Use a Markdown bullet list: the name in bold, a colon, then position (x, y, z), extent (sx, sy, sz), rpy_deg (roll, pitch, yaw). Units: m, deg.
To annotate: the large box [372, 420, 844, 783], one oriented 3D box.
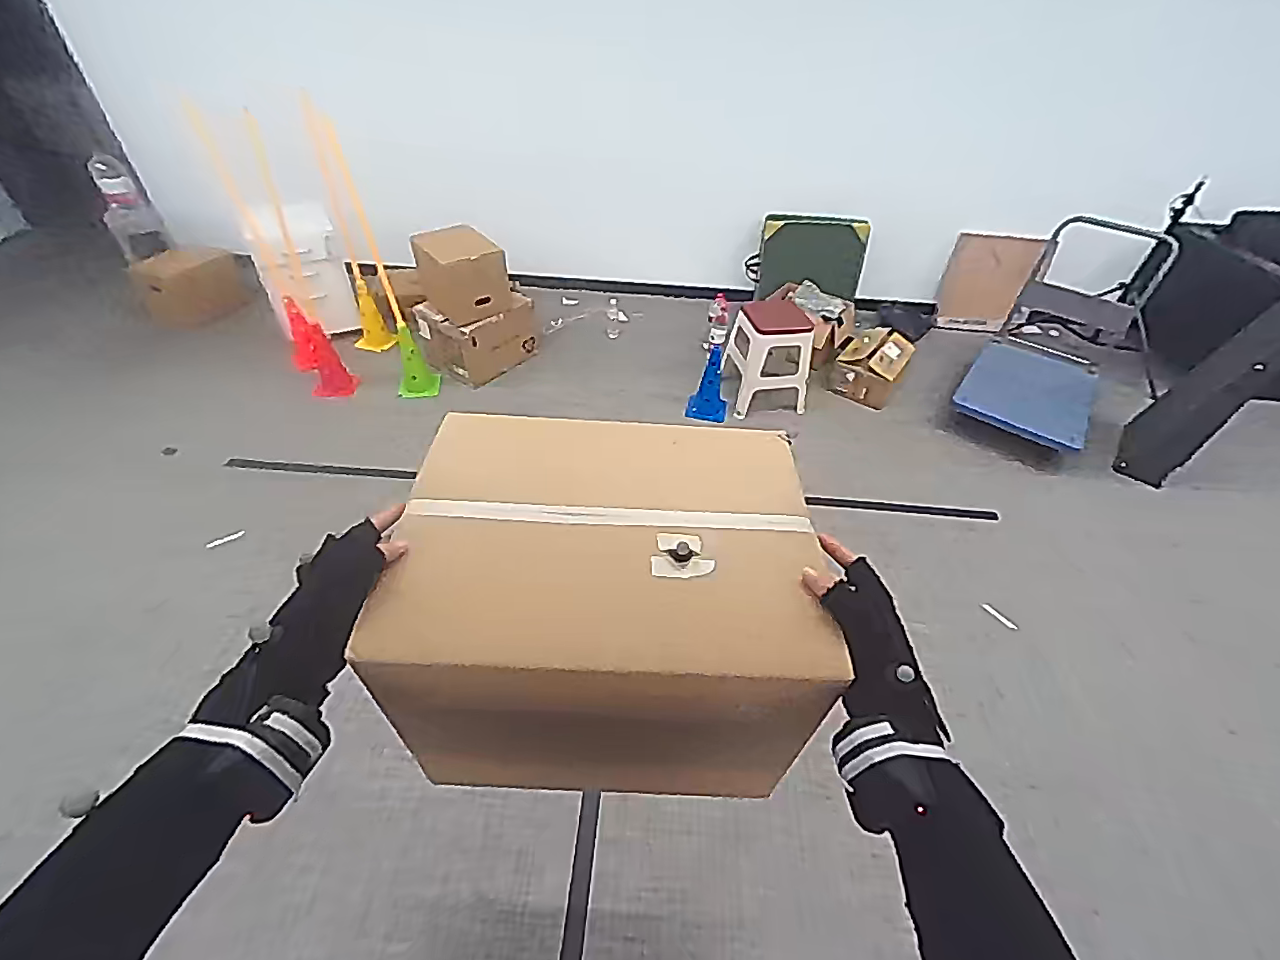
- **large box**: position (-0.033, 0.150, 0.655), extent (0.408, 0.320, 0.320), rpy_deg (4, 45, -2)
